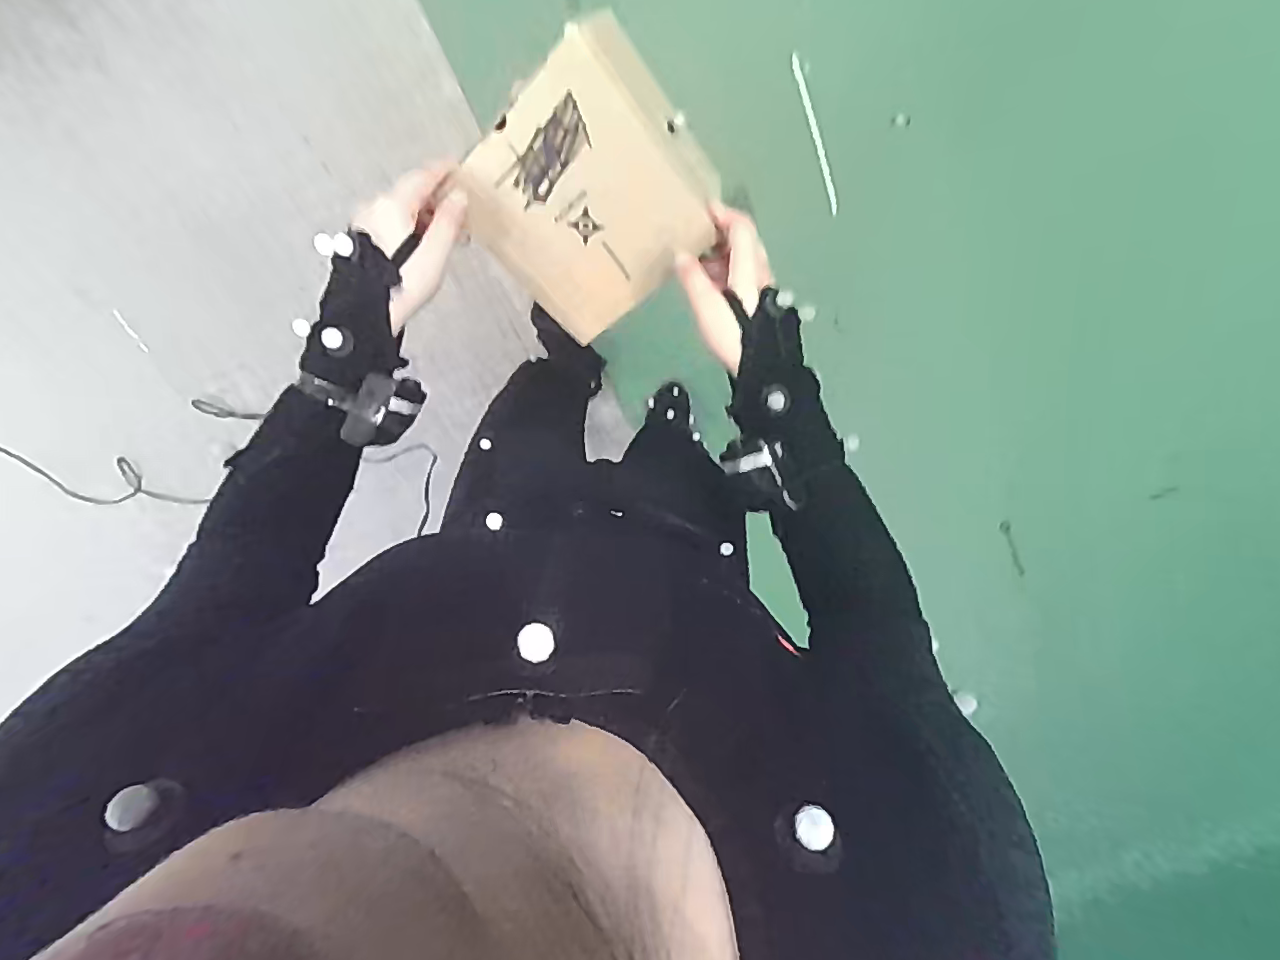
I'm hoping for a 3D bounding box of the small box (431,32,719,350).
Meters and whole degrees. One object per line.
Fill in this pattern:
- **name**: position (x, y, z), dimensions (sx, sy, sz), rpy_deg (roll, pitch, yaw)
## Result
- **small box**: position (-0.047, -0.261, 0.492), dimensions (0.168, 0.176, 0.179), rpy_deg (-29, 126, 29)
